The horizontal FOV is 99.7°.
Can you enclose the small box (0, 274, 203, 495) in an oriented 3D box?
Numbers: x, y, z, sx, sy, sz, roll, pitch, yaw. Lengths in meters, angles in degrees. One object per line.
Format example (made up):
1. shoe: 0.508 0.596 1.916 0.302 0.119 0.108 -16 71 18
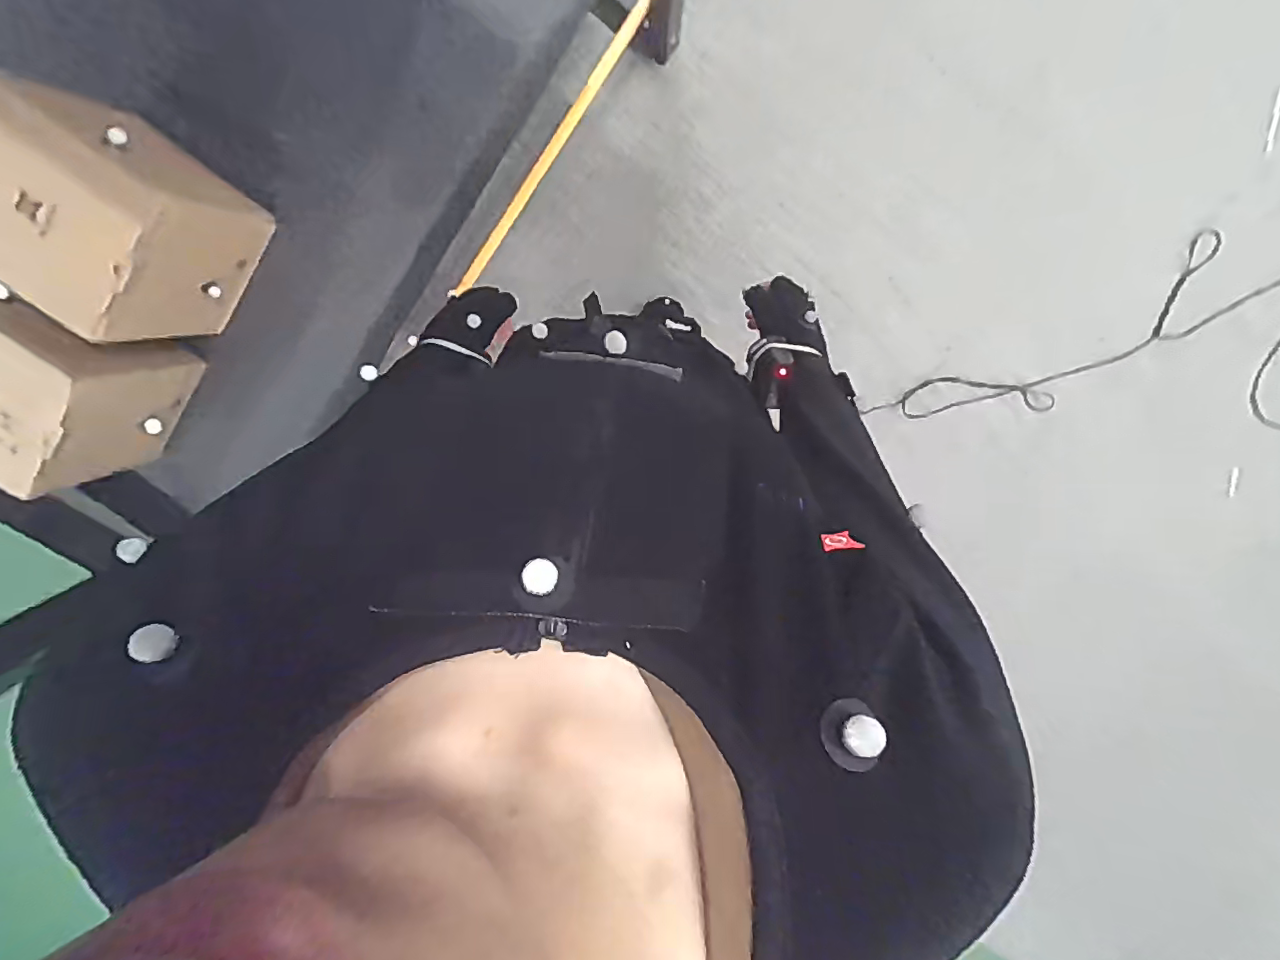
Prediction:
1. small box: -0.672 -0.115 0.619 0.179 0.176 0.168 36 105 -10
